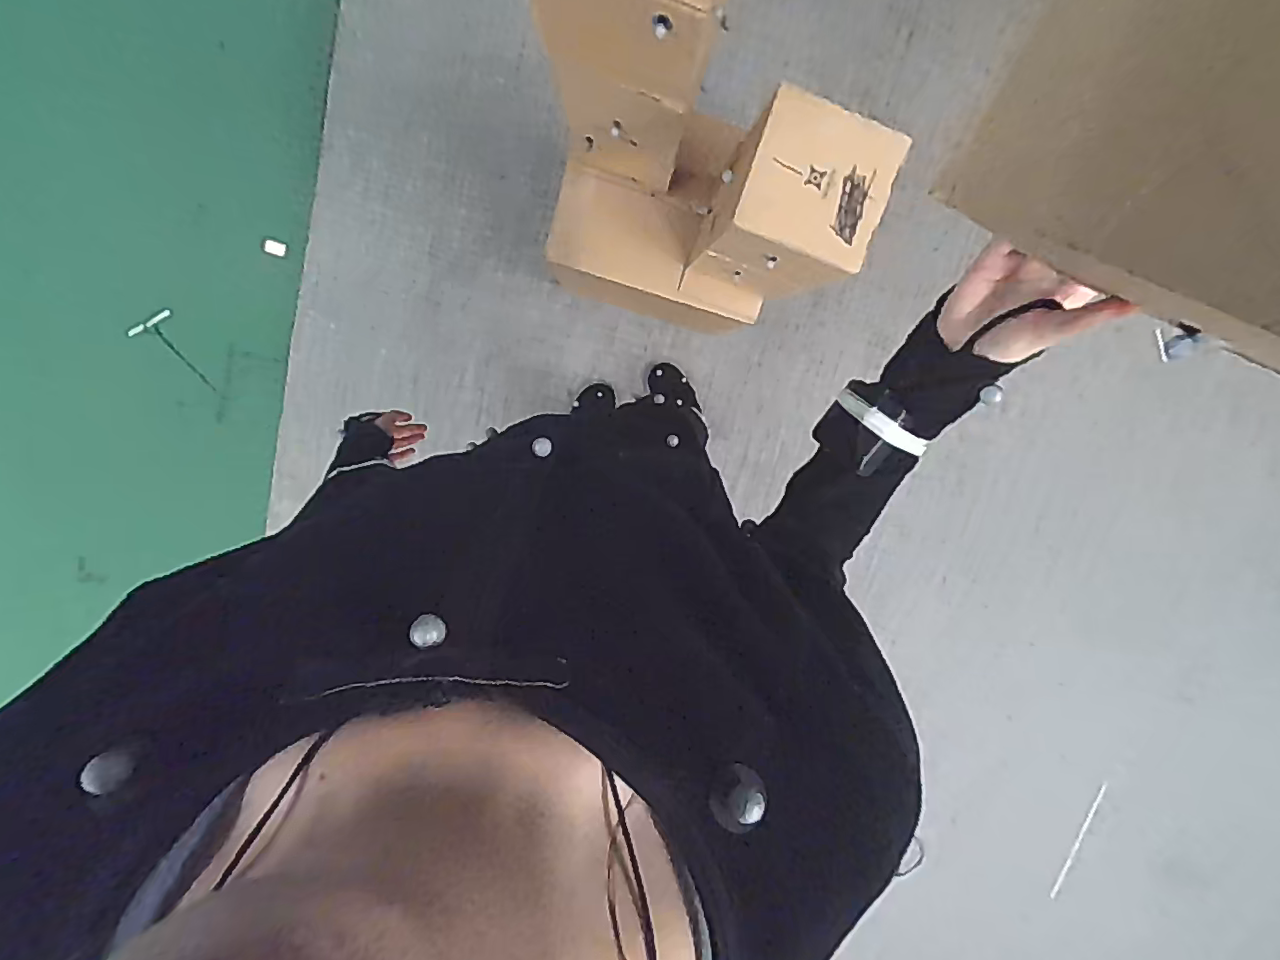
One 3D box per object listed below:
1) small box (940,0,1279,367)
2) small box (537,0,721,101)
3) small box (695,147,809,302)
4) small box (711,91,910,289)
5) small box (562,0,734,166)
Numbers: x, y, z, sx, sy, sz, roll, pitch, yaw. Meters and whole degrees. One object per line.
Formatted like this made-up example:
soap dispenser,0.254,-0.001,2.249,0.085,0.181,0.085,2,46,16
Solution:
small box,0.267,-0.143,0.208,0.176,0.179,0.168,6,126,-30
small box,-0.001,-0.515,0.528,0.179,0.176,0.168,16,100,-6
small box,0.202,-0.405,0.892,0.179,0.176,0.168,18,102,-6
small box,0.215,-0.370,0.733,0.179,0.176,0.168,19,101,-7
small box,0.008,-0.546,0.689,0.168,0.176,0.179,21,100,-5
